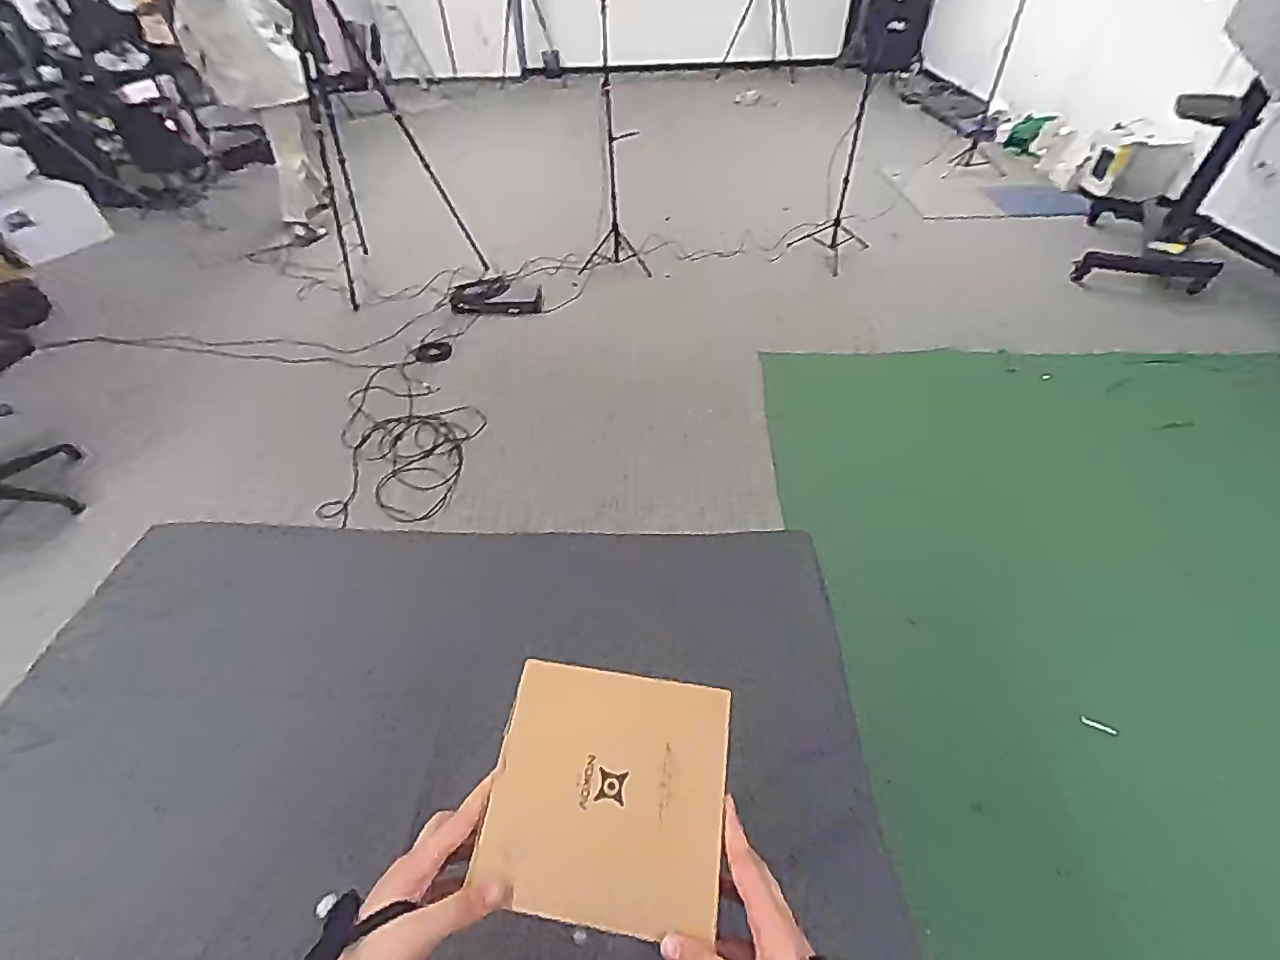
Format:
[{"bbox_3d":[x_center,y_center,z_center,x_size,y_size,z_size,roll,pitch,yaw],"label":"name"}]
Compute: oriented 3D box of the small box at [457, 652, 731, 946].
[{"bbox_3d":[-0.022,0.262,0.459,0.179,0.176,0.168,6,57,7],"label":"small box"}]
